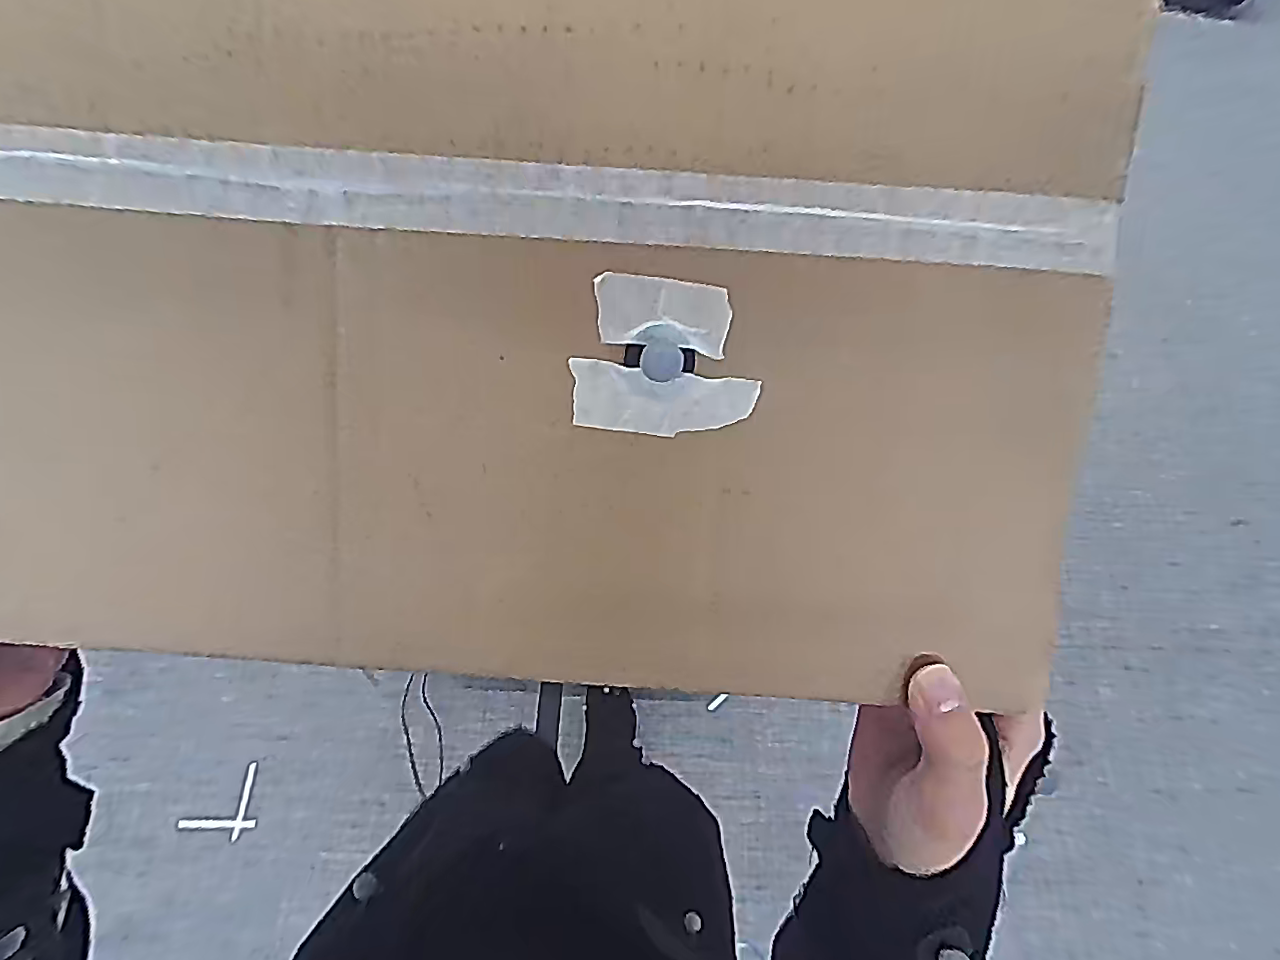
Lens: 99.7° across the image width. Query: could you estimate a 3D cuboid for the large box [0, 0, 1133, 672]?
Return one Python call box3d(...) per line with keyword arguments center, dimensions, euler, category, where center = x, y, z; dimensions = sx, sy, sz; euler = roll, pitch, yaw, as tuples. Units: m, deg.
box3d(center=(-0.051, -0.108, 0.327), dimensions=(0.408, 0.320, 0.320), euler=(4, 99, -1), category="large box")
